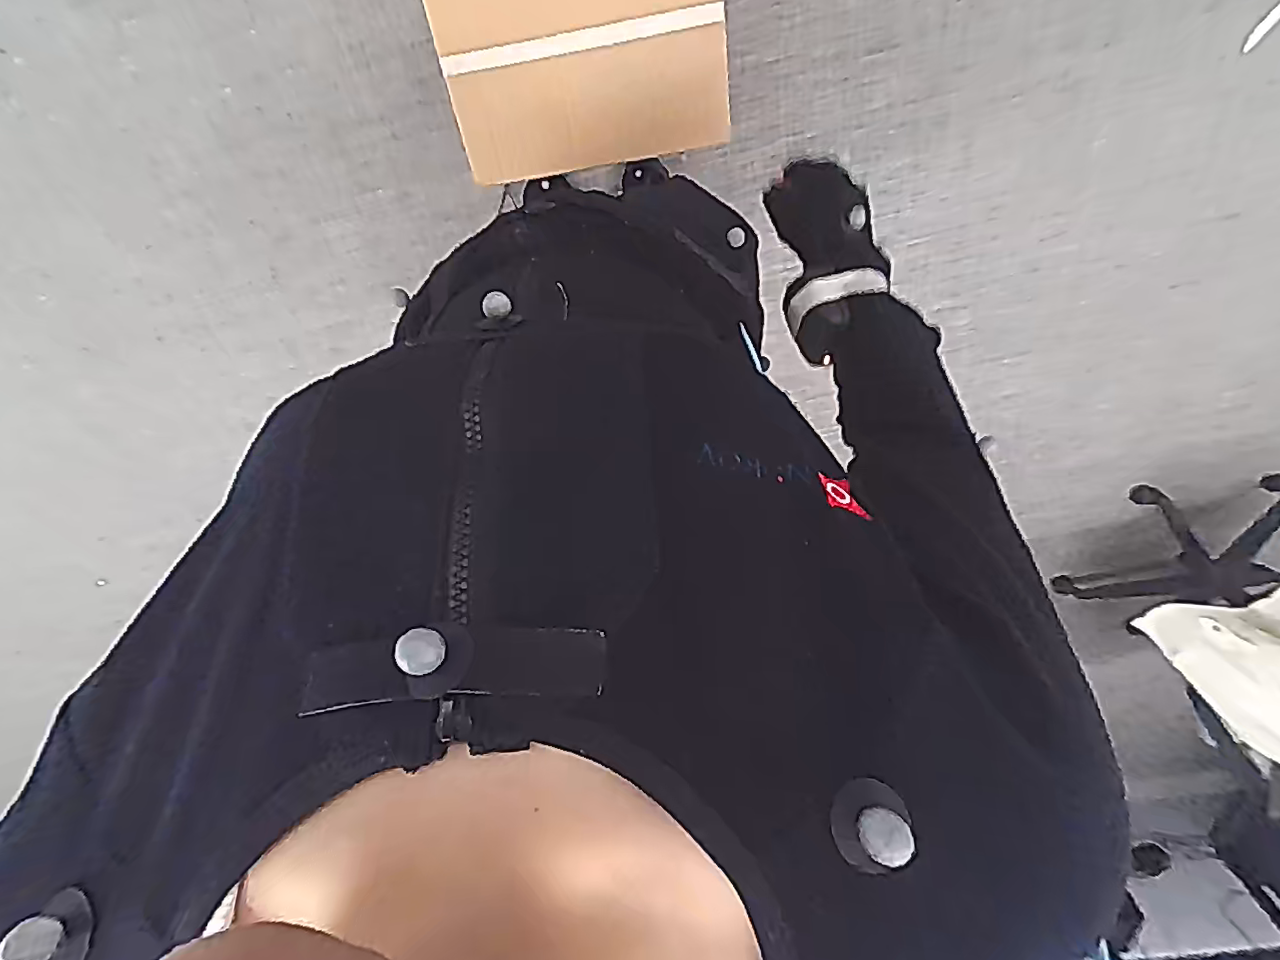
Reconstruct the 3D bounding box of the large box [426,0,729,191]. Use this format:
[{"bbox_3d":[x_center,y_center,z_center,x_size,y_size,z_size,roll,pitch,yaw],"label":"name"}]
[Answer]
[{"bbox_3d":[-0.086,-0.698,0.886,0.408,0.320,0.320,-8,123,3],"label":"large box"}]
